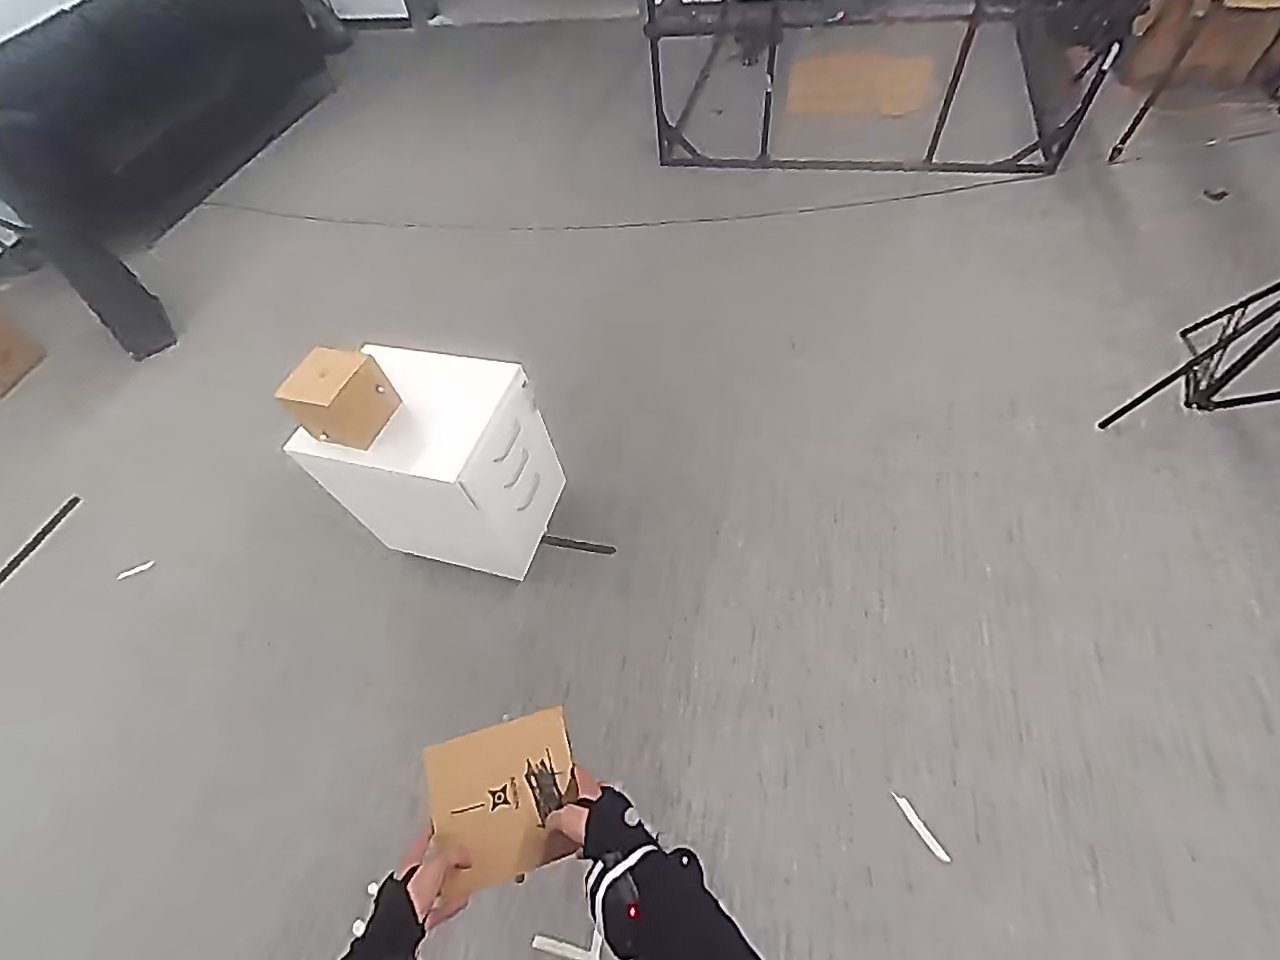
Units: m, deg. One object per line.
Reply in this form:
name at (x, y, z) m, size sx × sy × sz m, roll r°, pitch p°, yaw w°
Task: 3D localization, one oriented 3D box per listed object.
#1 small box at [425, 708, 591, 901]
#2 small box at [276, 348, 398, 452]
small box at (-0.171, 0.417, 0.721) m, size 0.179 × 0.176 × 0.168 m, roll -12°, pitch 64°, yaw -13°
small box at (-0.732, -0.197, 1.335) m, size 0.168 × 0.176 × 0.179 m, roll 11°, pitch 57°, yaw 15°
